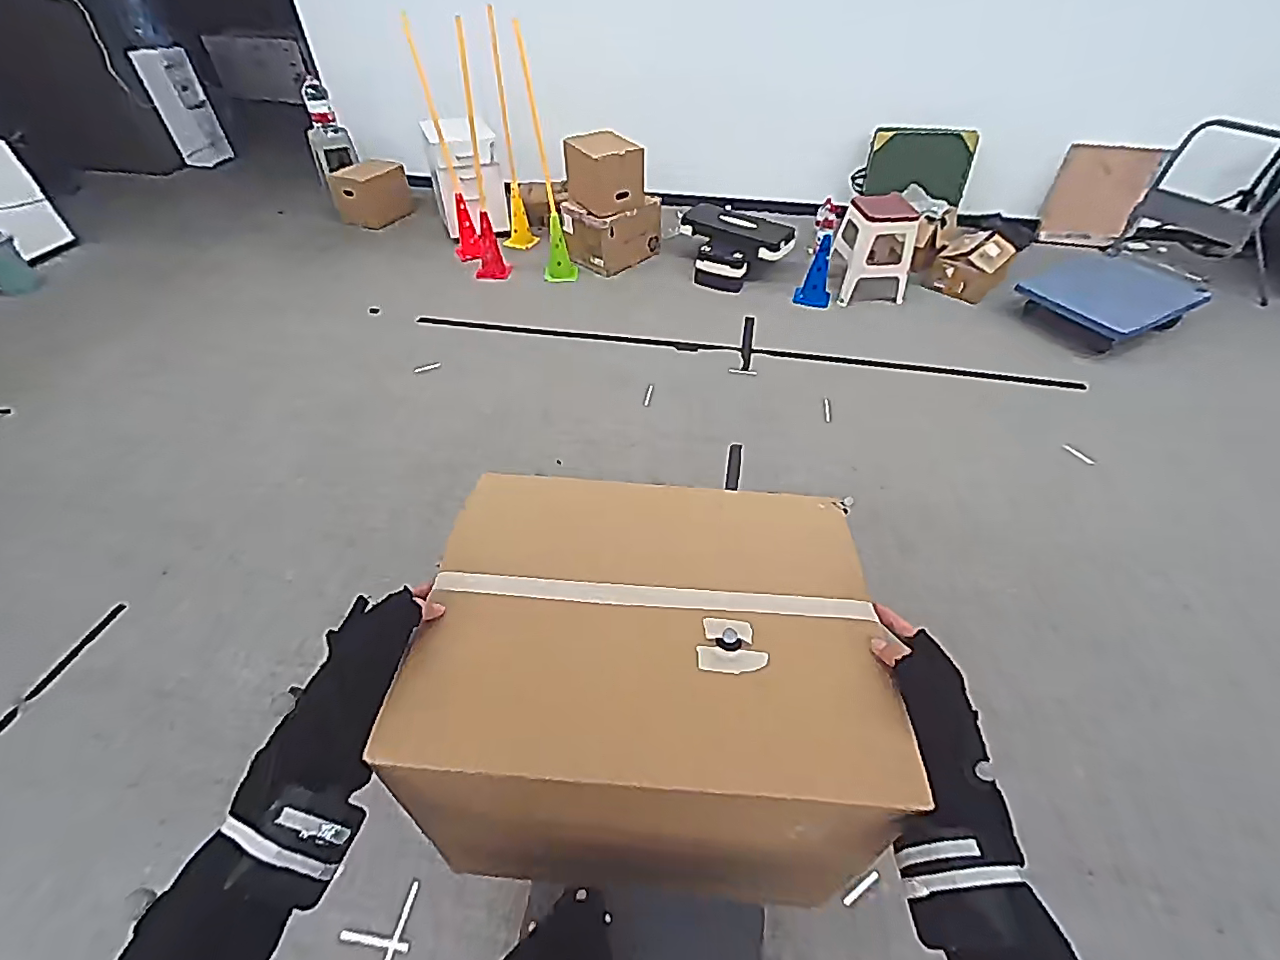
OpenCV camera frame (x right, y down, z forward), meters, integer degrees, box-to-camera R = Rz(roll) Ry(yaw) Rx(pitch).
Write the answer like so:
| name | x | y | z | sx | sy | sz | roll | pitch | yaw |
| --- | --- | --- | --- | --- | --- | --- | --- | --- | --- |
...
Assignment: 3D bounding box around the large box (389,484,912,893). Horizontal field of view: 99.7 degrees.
| name | x | y | z | sx | sy | sz | roll | pitch | yaw |
| --- | --- | --- | --- | --- | --- | --- | --- | --- | --- |
| large box | 0.008 | 0.229 | 0.610 | 0.408 | 0.320 | 0.320 | 5 | 42 | 2 |
